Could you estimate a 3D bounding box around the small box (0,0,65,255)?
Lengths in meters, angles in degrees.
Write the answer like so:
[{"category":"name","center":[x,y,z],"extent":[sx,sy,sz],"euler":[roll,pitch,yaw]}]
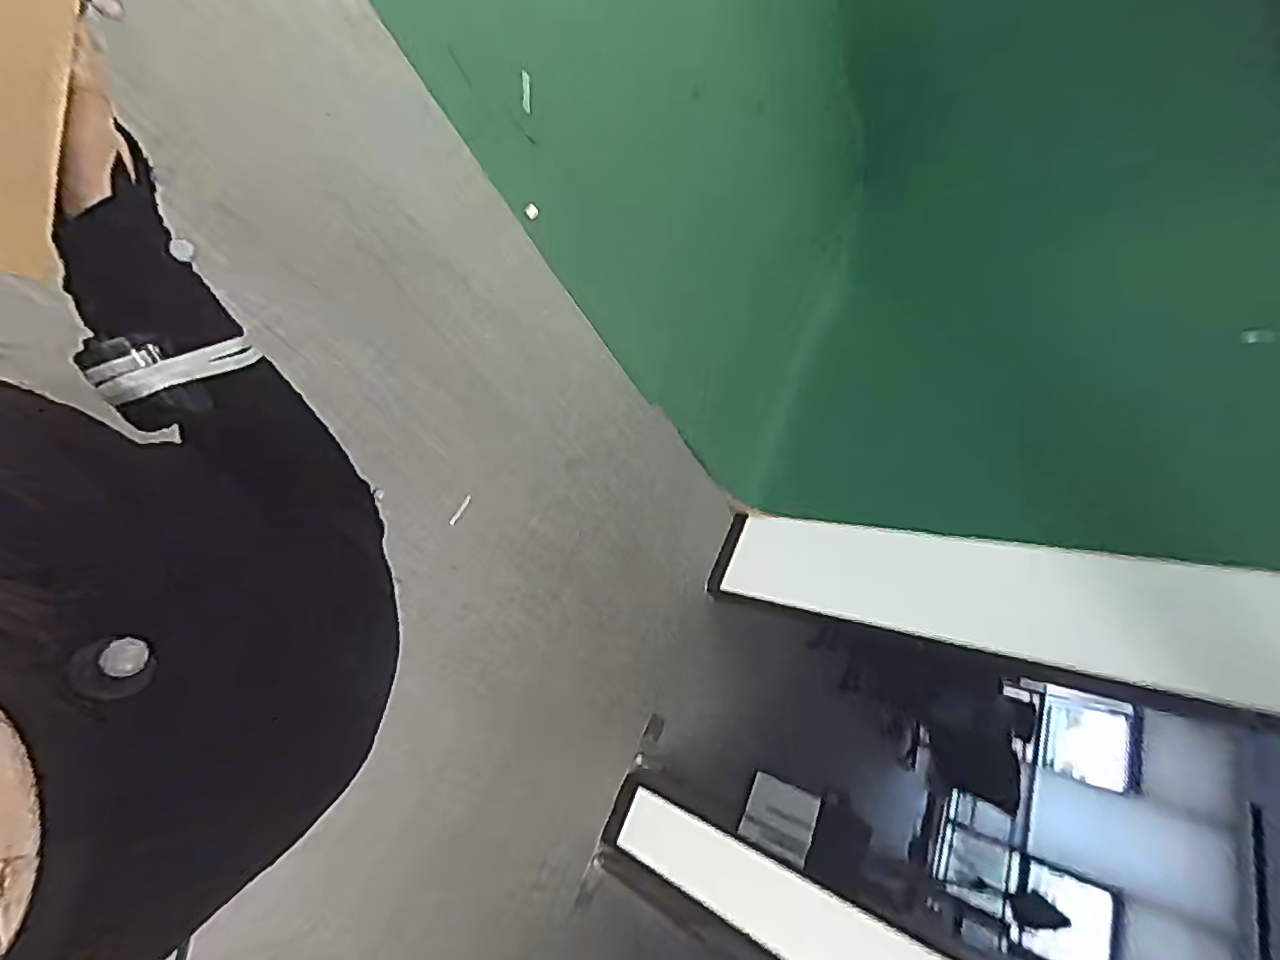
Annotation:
[{"category":"small box","center":[-0.369,-0.237,0.229],"extent":[0.168,0.176,0.179],"euler":[6,124,-49]}]
